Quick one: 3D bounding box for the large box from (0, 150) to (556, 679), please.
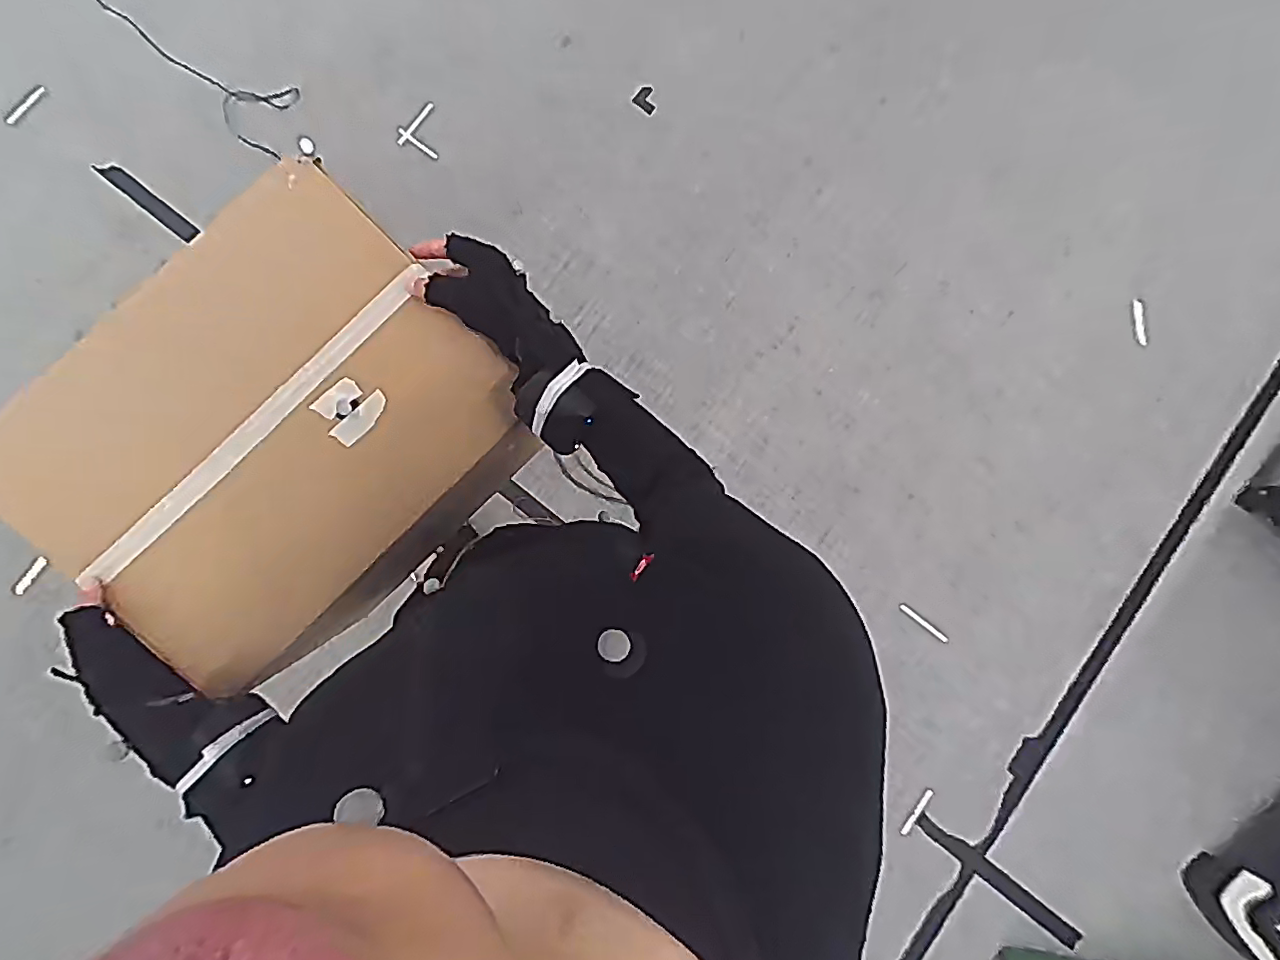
[{"bbox_3d":[-0.352,-0.060,0.644,0.408,0.320,0.320,-45,95,-5],"label":"large box"}]
